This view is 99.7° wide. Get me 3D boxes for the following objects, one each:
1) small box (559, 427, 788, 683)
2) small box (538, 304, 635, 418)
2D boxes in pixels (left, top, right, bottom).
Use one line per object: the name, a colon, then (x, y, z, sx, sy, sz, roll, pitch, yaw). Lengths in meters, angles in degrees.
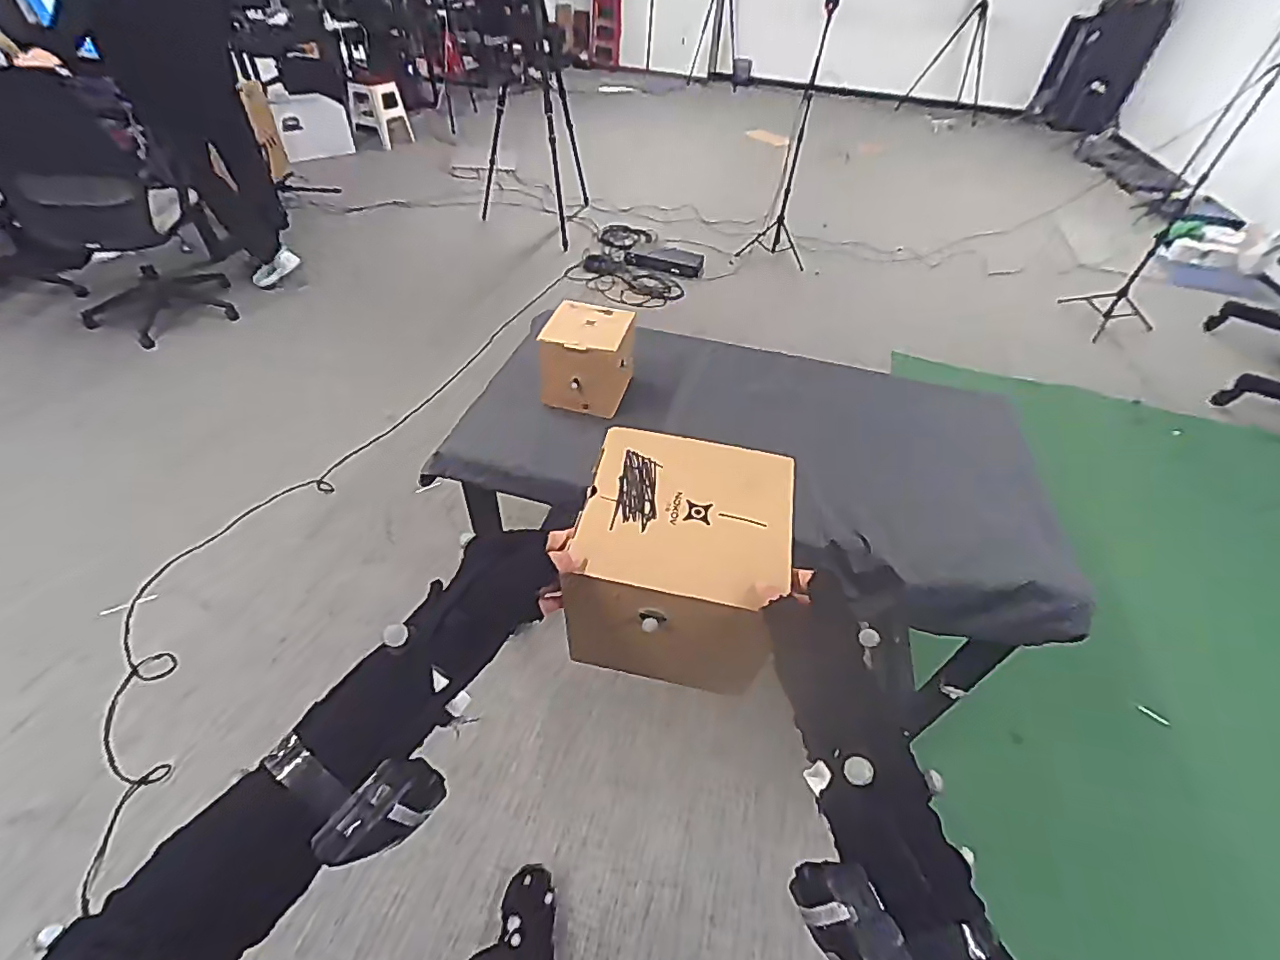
small box: (0.034, 0.075, 0.522, 0.179, 0.176, 0.168, 11, 49, 6)
small box: (-0.111, -0.261, 1.191, 0.168, 0.176, 0.179, 12, 46, 7)
